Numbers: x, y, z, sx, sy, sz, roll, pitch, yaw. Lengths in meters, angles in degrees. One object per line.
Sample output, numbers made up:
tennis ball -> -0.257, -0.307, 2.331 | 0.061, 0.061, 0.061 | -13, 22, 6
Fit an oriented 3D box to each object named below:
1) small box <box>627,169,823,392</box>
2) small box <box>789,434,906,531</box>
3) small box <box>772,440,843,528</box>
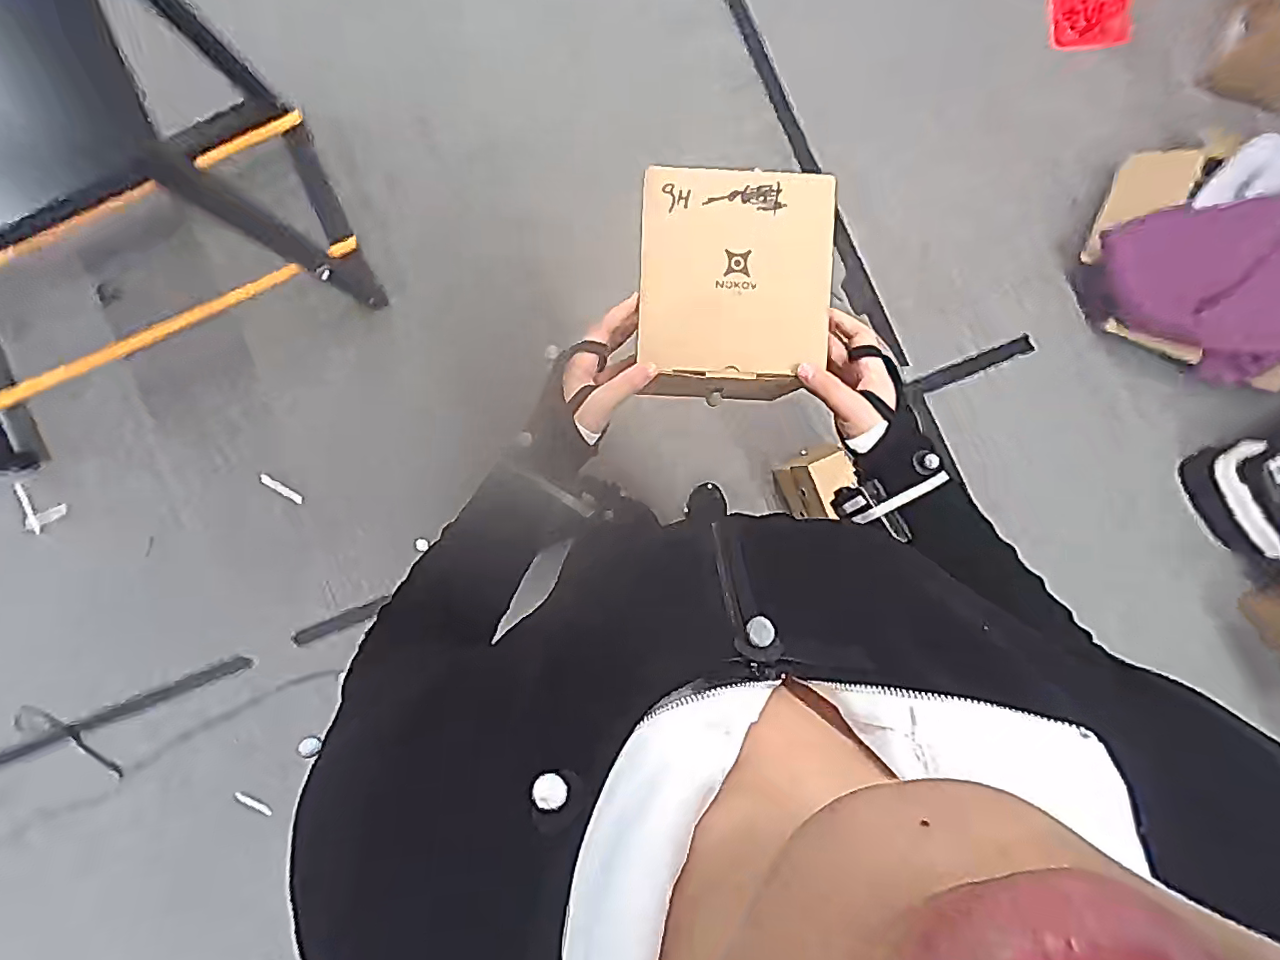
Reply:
small box -> 0.072, -0.183, 0.548 | 0.168, 0.176, 0.179 | 1, 94, -1
small box -> 0.469, 0.002, 1.249 | 0.179, 0.176, 0.168 | -22, 90, 3
small box -> 0.465, 0.008, 1.412 | 0.168, 0.176, 0.179 | -24, 90, 2
